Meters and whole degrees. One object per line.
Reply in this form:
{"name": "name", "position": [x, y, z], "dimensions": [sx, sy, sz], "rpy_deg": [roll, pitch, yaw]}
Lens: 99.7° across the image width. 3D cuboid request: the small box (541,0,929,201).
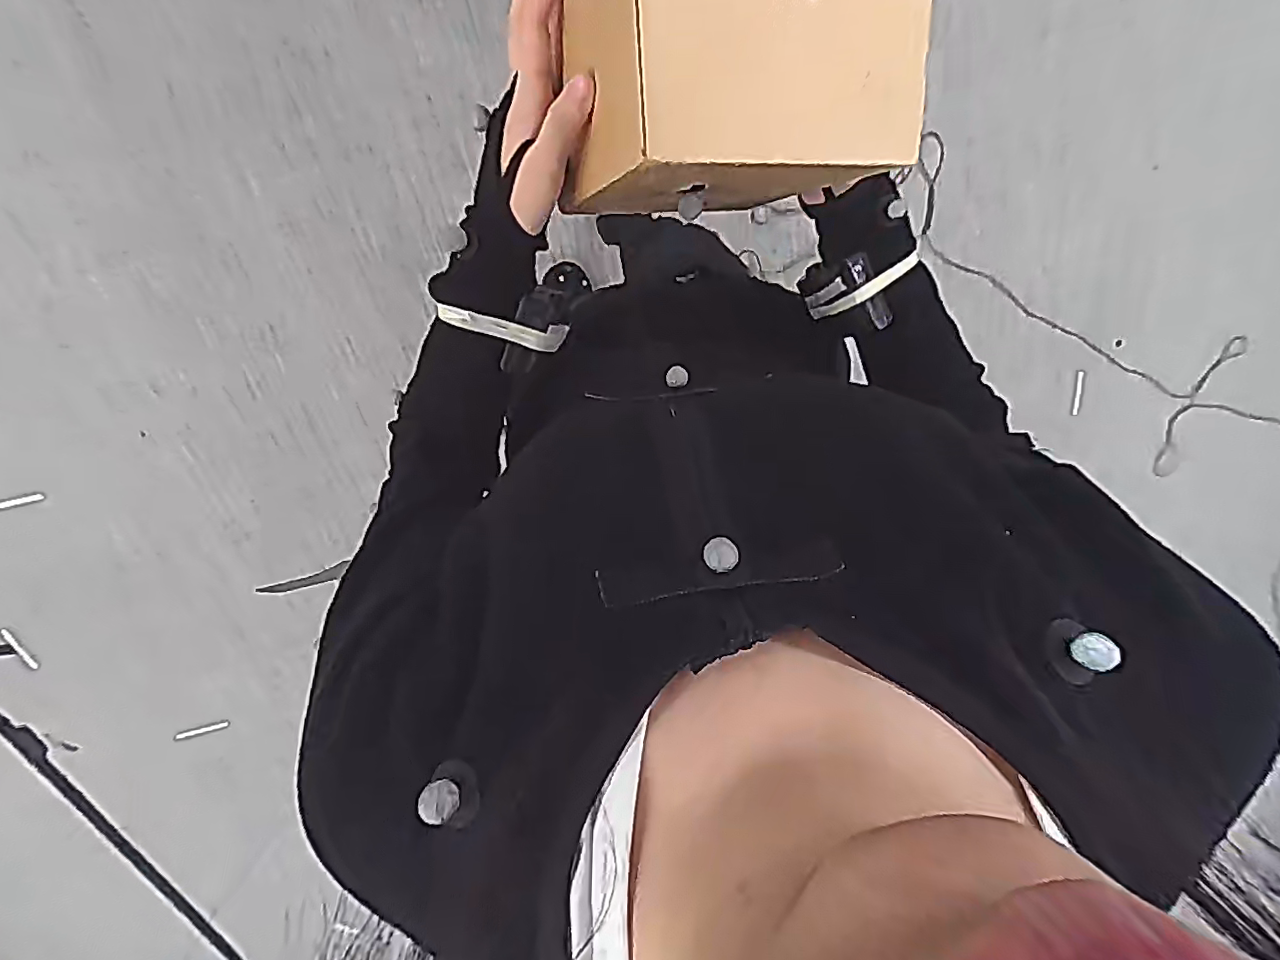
{"name": "small box", "position": [0.042, -0.271, 0.318], "dimensions": [0.168, 0.176, 0.179], "rpy_deg": [-12, 110, -19]}
